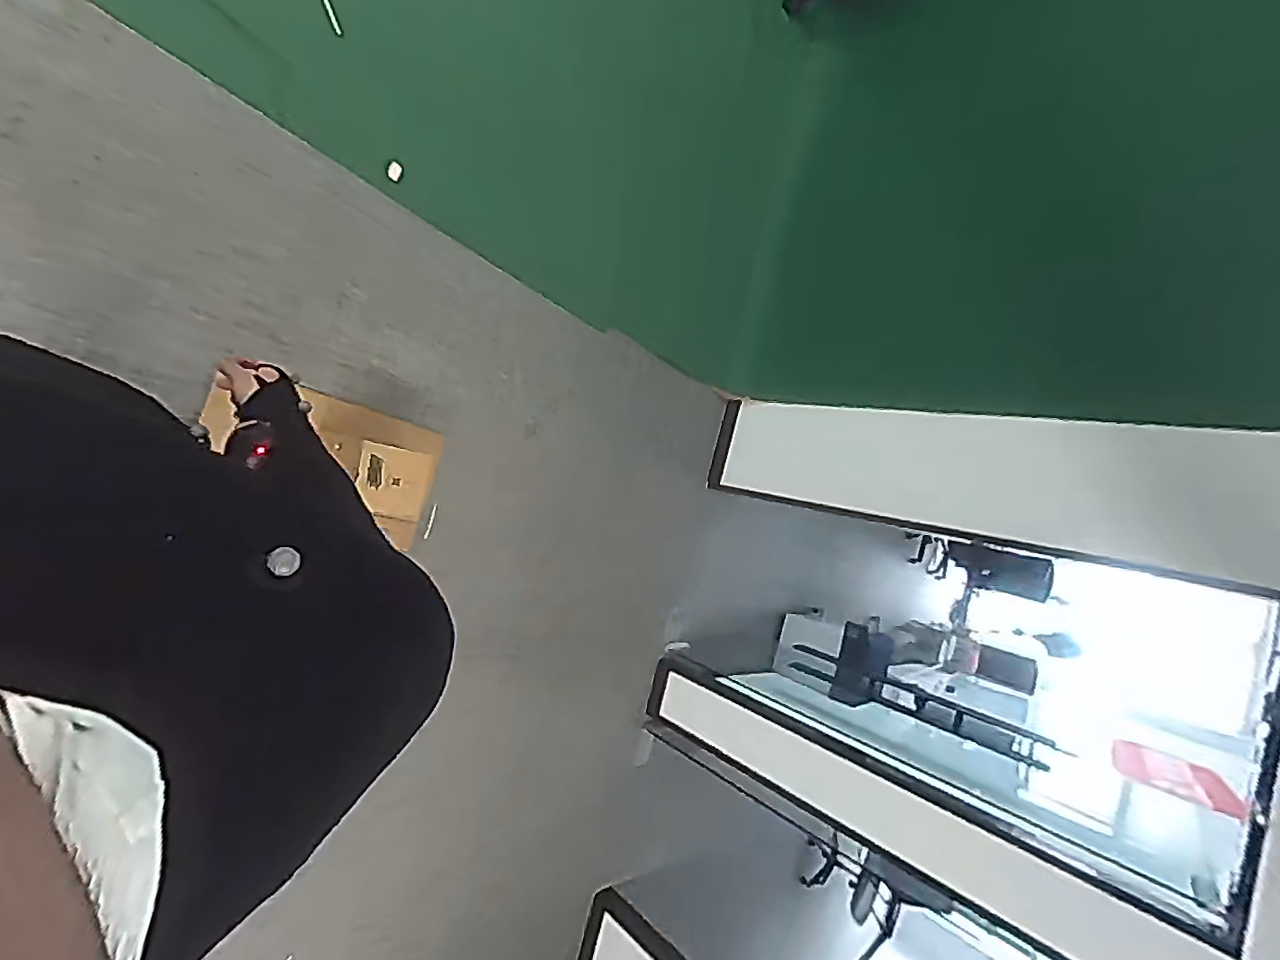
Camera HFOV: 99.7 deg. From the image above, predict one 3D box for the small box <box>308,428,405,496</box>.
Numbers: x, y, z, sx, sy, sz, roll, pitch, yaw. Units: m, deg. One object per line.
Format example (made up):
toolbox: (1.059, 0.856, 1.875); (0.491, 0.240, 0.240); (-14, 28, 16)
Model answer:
small box: (-0.776, -0.043, 1.482); (0.179, 0.176, 0.168); (11, 91, -47)

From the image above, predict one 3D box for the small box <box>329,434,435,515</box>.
small box: (-0.658, -0.017, 1.372); (0.179, 0.176, 0.168); (16, 88, -48)
